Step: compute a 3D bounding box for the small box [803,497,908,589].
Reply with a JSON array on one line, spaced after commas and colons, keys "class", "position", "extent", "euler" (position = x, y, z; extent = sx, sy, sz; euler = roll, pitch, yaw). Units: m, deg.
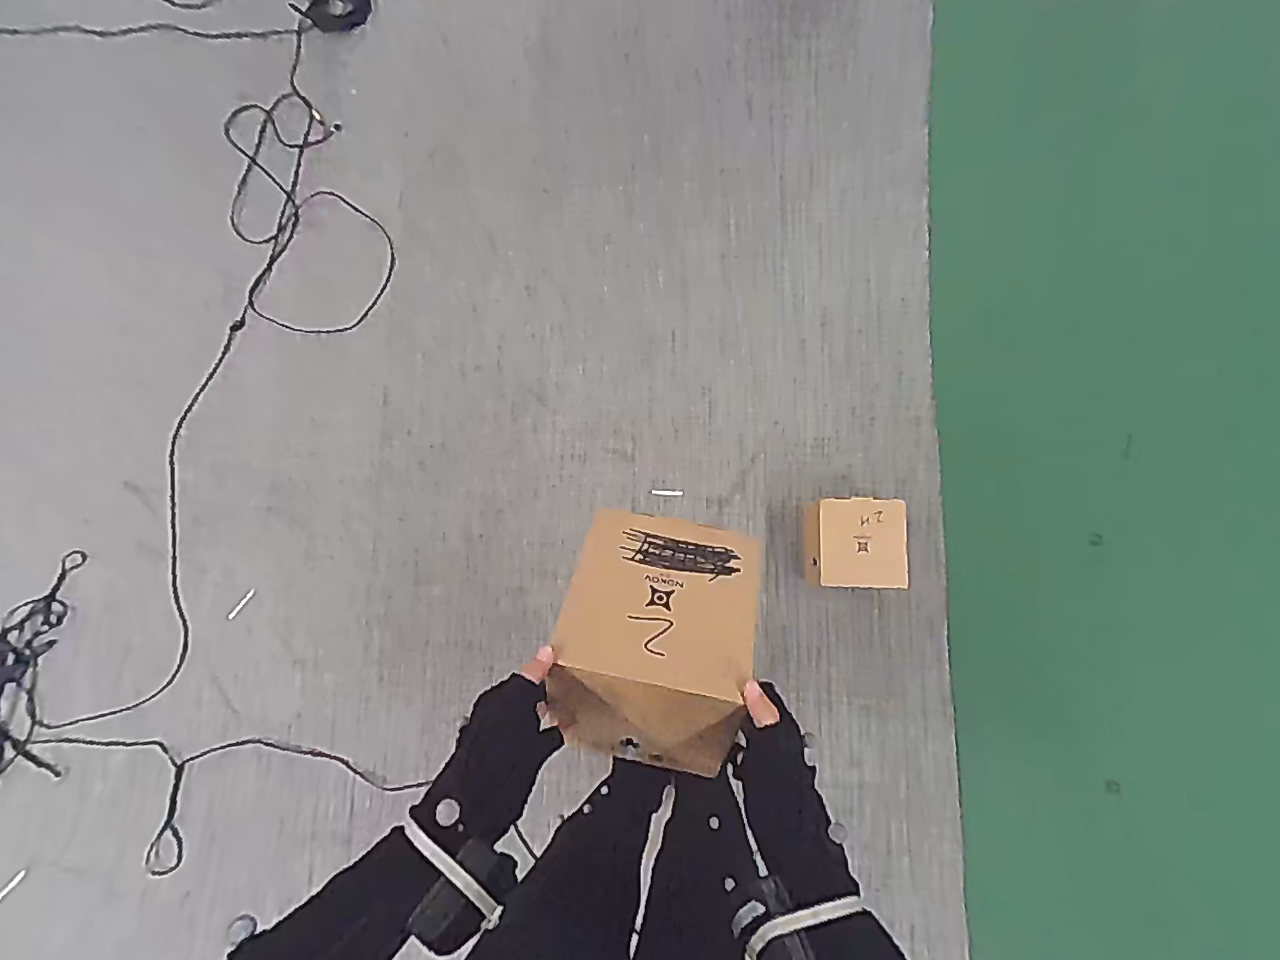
[{"class": "small box", "position": [0.442, 0.129, 1.127], "extent": [0.168, 0.176, 0.179], "euler": [1, 83, 5]}]
